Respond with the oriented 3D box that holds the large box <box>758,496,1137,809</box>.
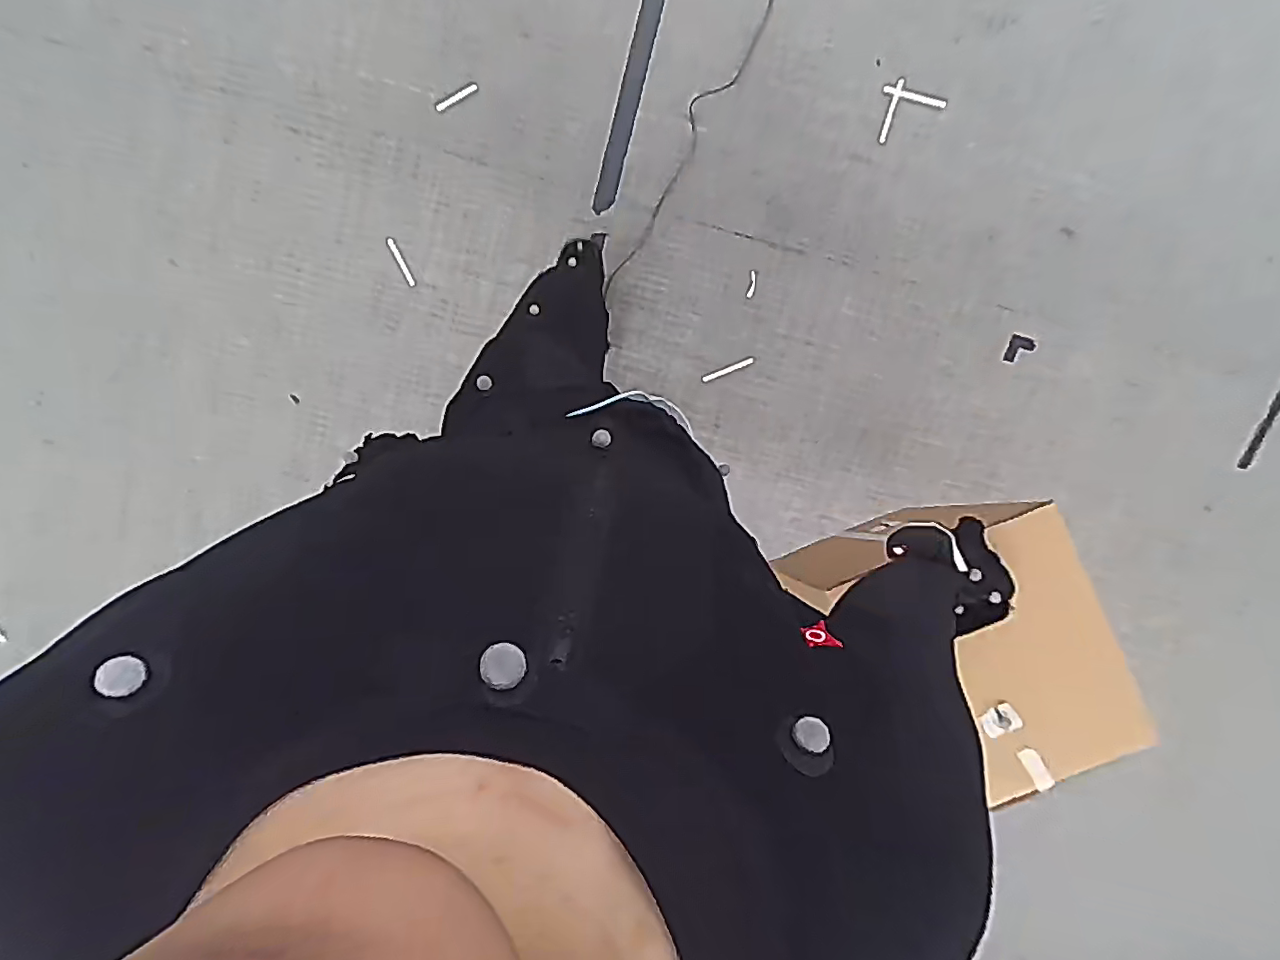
[{"bbox_3d":[0.428,0.235,0.869,0.320,0.408,0.320,-21,84,0],"label":"large box"}]
